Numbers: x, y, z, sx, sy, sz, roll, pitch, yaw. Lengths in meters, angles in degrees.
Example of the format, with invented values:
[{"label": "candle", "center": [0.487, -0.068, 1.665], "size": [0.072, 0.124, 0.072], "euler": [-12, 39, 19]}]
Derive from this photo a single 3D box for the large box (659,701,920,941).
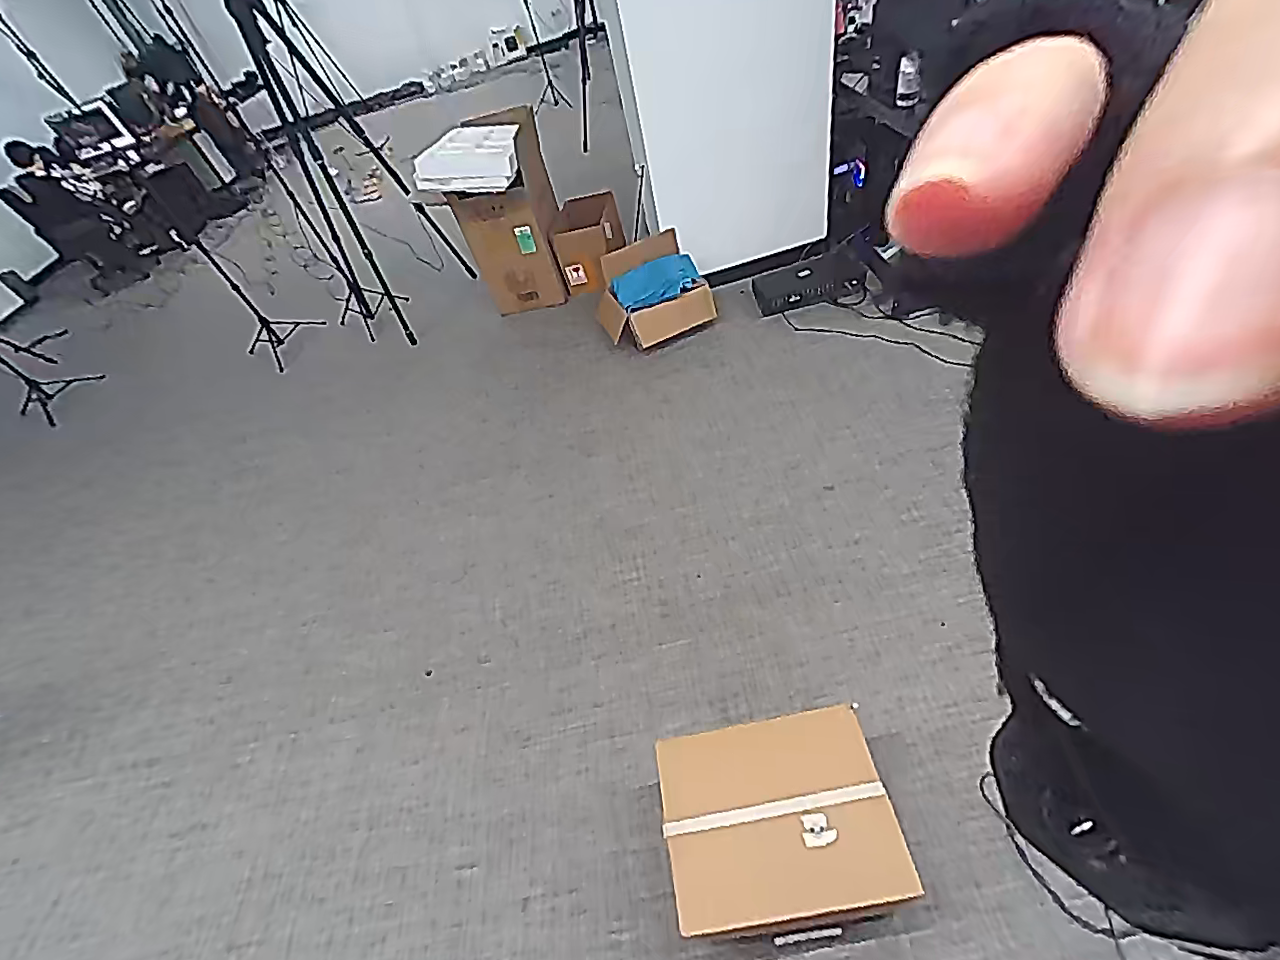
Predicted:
[{"label": "large box", "center": [0.278, 0.698, 1.101], "size": [0.408, 0.320, 0.320], "euler": [-13, 47, 4]}]
